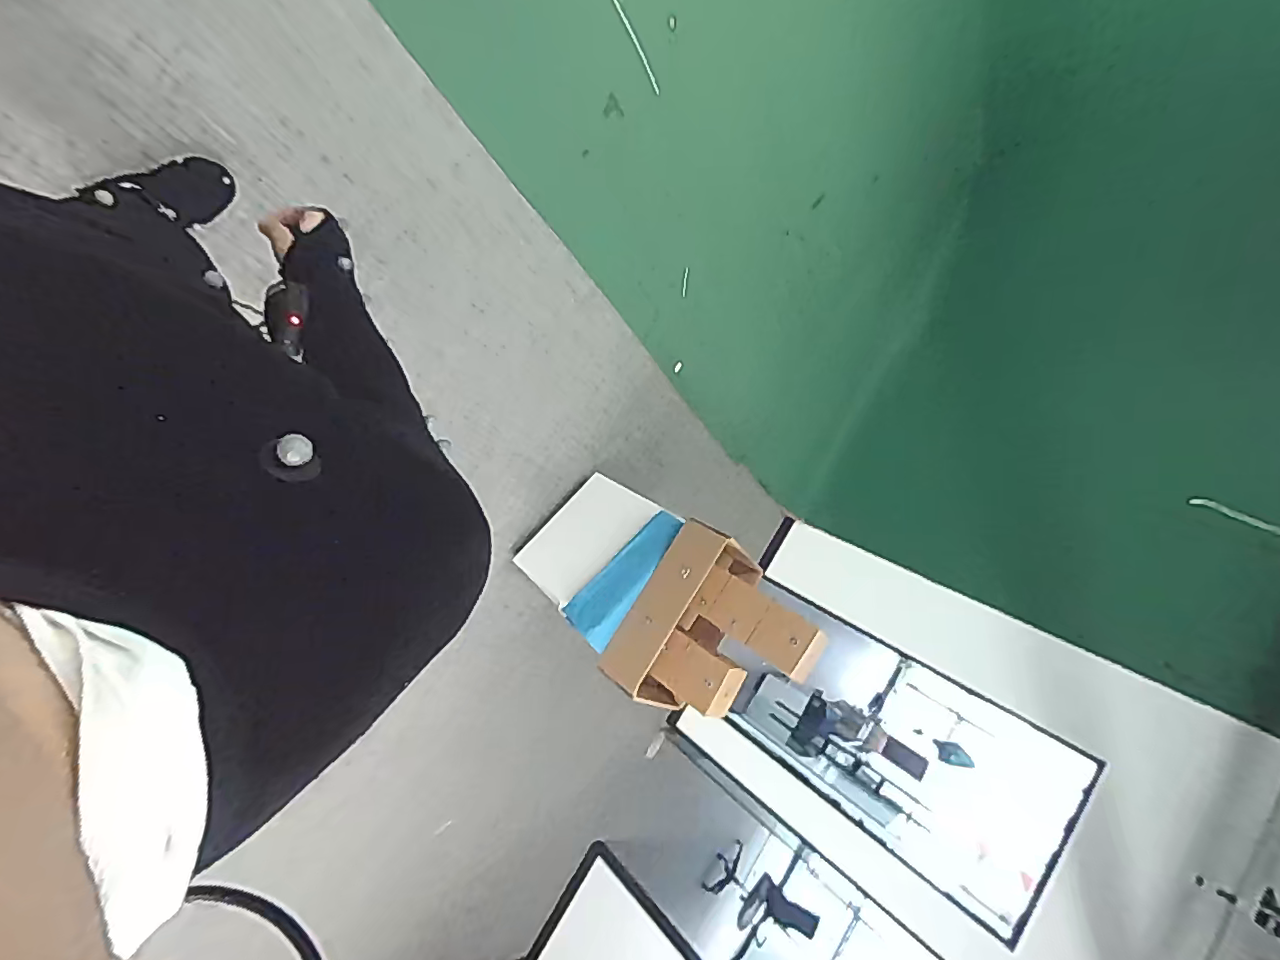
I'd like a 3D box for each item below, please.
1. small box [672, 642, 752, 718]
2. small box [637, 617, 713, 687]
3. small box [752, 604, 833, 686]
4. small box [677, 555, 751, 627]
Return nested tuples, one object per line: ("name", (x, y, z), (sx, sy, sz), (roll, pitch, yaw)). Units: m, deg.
("small box", (0.236, 0.663, 1.796), (0.168, 0.176, 0.179), (35, 84, -51))
("small box", (0.121, 0.606, 1.896), (0.179, 0.176, 0.168), (-59, 142, -5))
("small box", (0.487, 0.524, 1.730), (0.179, 0.176, 0.168), (-54, 141, -6))
("small box", (0.262, 0.394, 1.933), (0.179, 0.176, 0.168), (-55, 142, -5))
